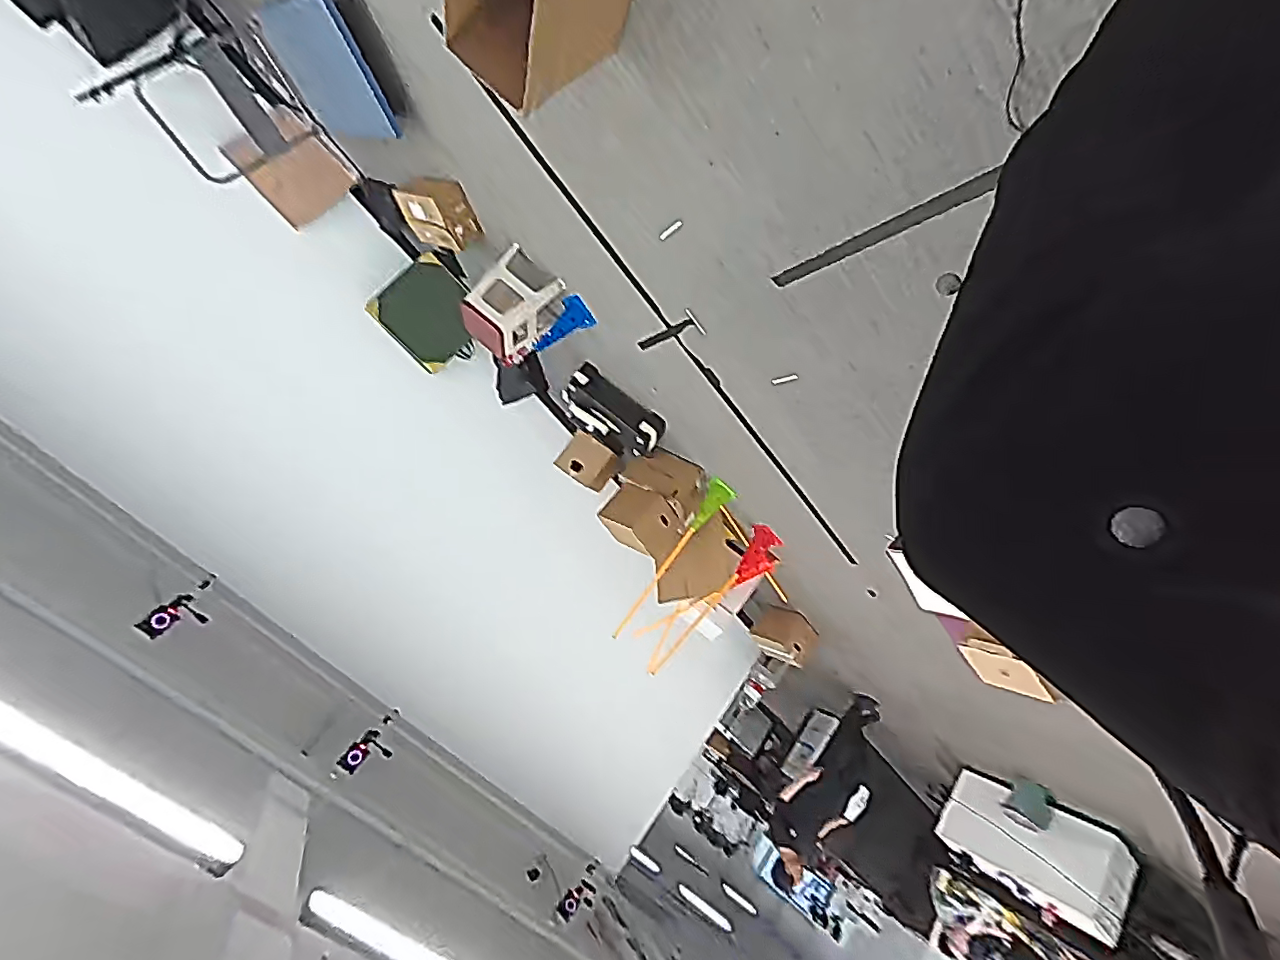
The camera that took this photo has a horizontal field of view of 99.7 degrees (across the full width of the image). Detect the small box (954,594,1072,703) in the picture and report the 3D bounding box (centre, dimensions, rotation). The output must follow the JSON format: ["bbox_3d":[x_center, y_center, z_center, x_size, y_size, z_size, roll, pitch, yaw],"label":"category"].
[{"bbox_3d":[0.917,0.404,1.328,0.179,0.176,0.168,48,159,-20],"label":"small box"}]
